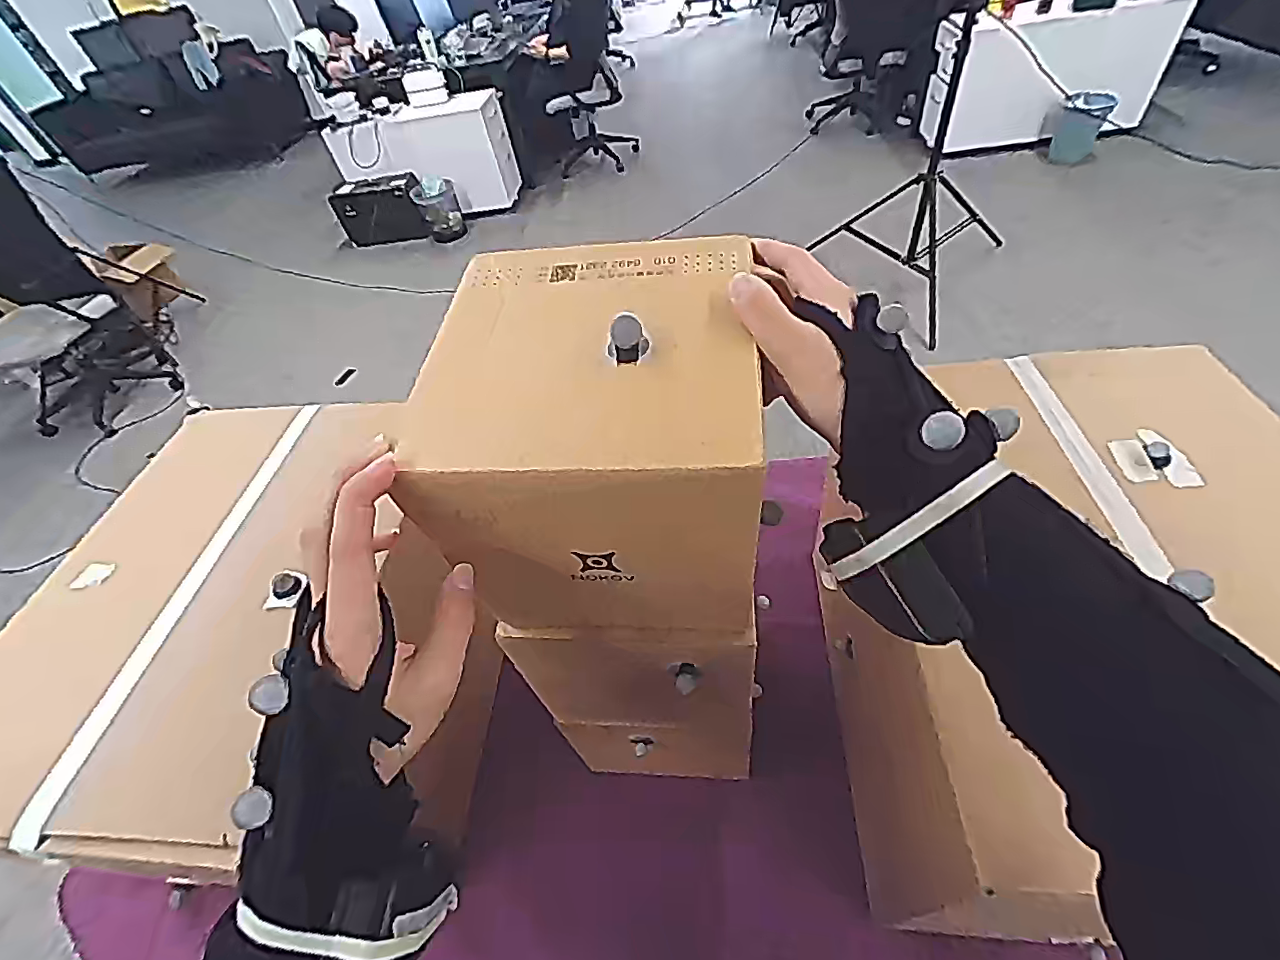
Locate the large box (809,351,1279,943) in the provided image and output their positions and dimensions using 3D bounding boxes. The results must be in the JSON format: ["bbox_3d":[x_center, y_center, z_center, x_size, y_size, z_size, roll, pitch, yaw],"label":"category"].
[{"bbox_3d":[0.348,0.140,0.481,0.320,0.320,0.408,-3,47,7],"label":"large box"}]
